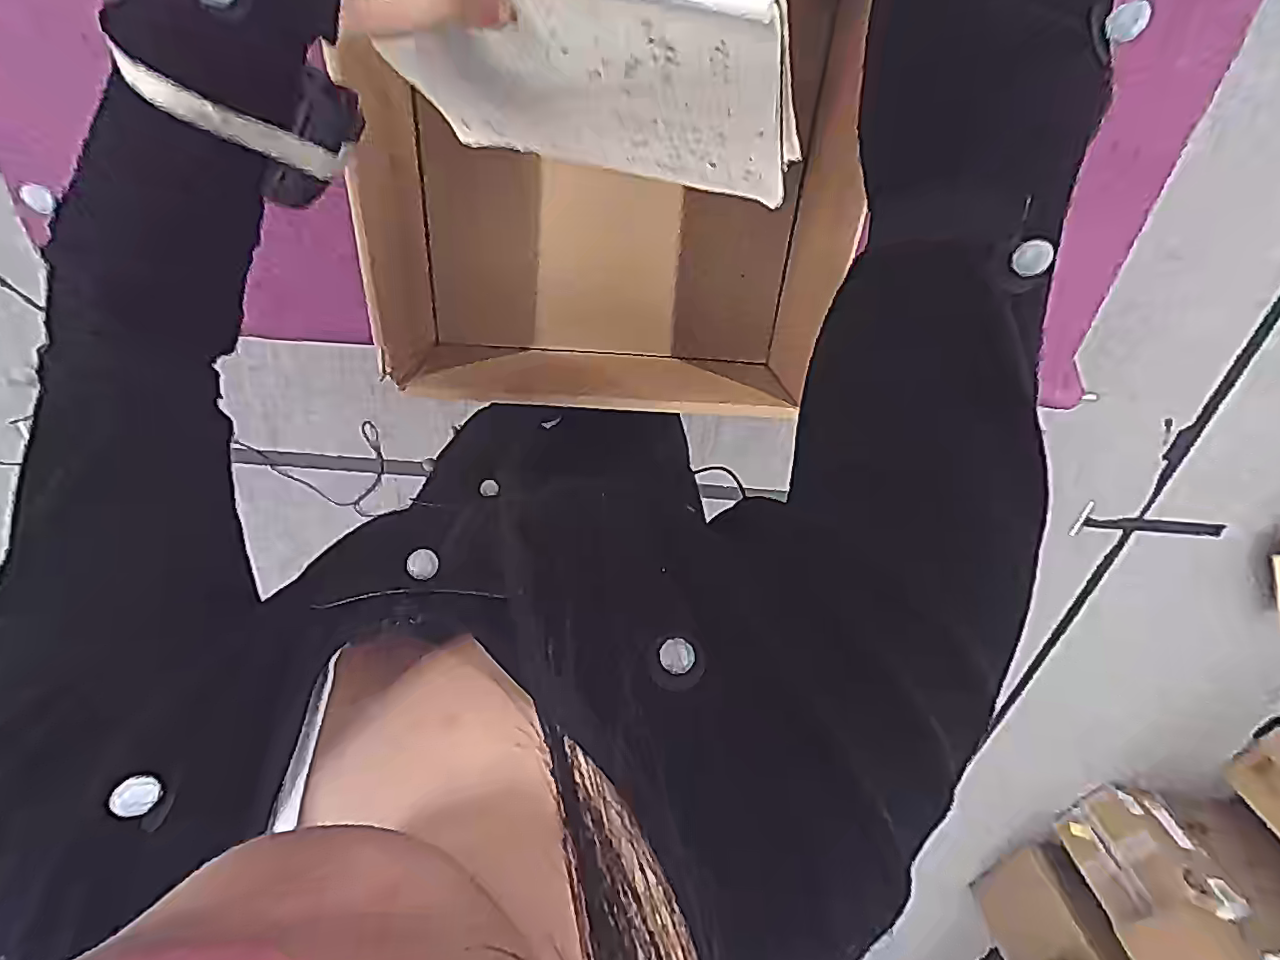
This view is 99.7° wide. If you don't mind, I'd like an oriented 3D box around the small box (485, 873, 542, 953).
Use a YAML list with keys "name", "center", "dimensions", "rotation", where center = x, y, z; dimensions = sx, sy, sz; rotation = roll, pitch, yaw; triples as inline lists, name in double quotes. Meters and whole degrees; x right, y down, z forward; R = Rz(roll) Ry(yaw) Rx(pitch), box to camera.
- name: "small box"
  center: [-0.427, 1.471, 1.841]
  dimensions: [0.168, 0.176, 0.179]
  rotation: [6, 119, -6]
